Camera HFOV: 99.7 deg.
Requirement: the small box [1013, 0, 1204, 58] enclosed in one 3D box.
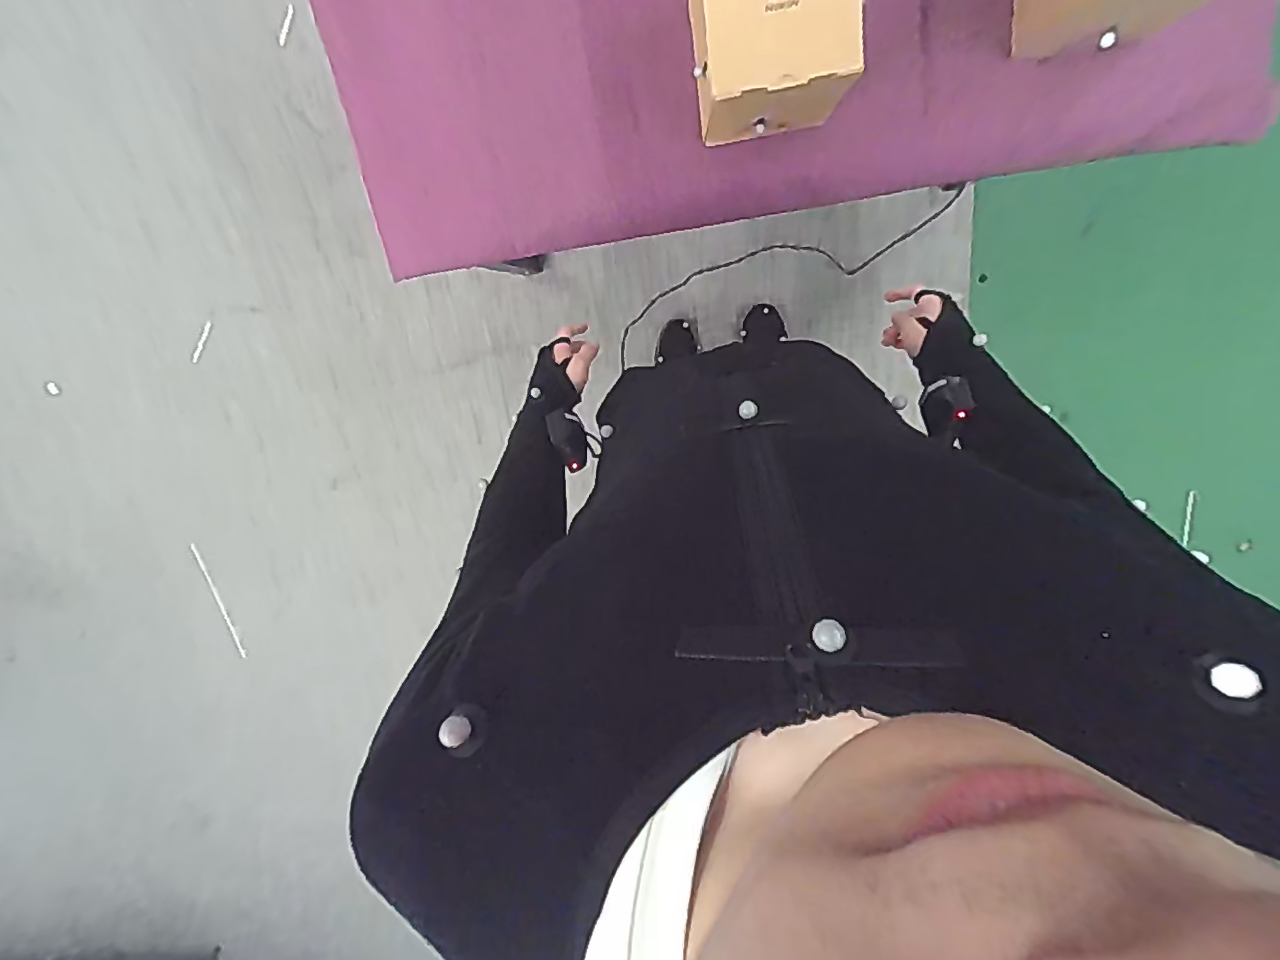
[{"bbox_3d":[0.542,-0.610,0.590,0.168,0.176,0.179,-5,106,6],"label":"small box"}]
